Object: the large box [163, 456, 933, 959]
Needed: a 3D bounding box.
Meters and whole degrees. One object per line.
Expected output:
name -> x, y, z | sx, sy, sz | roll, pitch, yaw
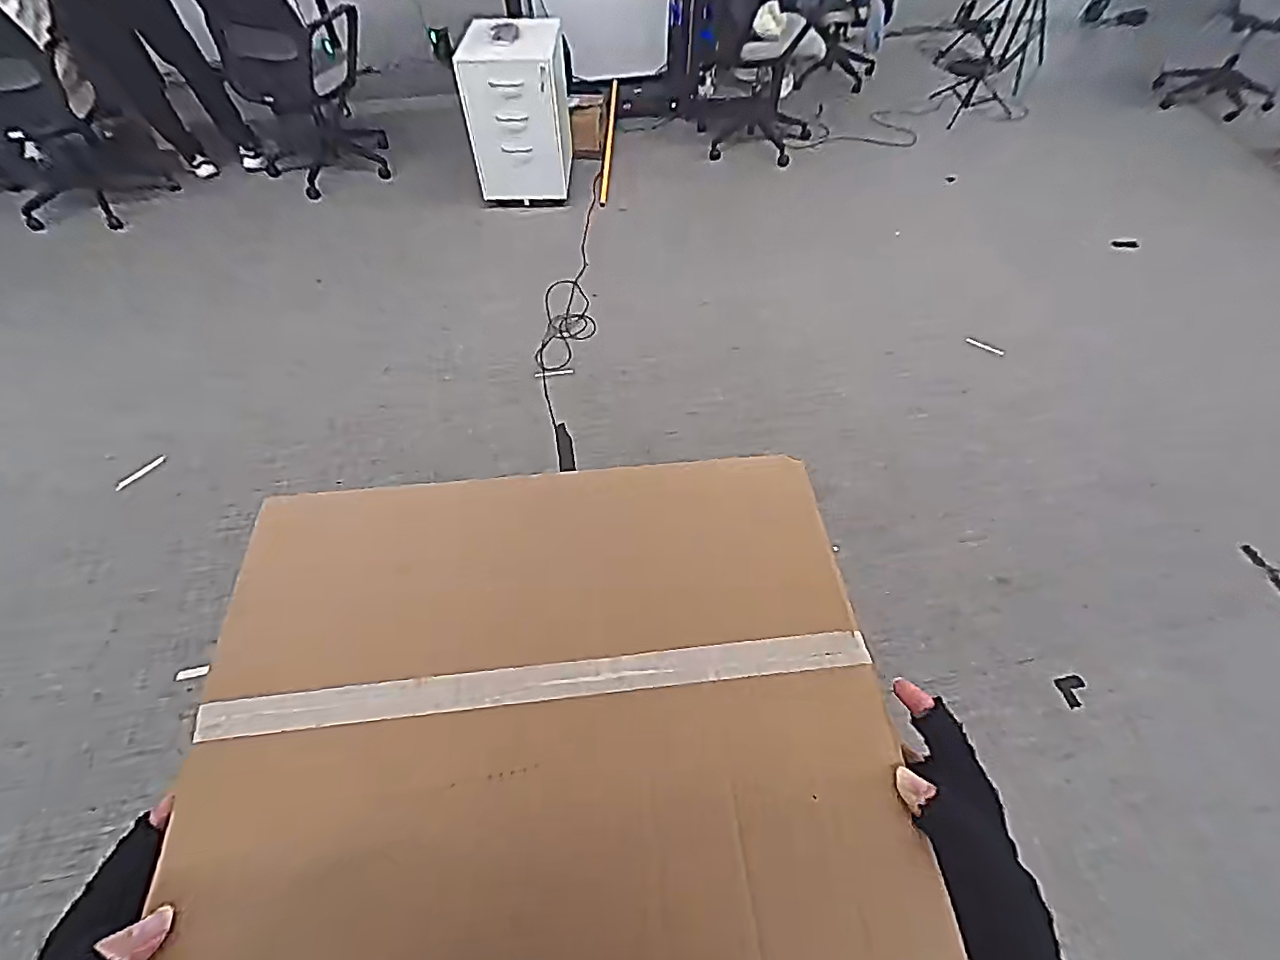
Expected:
large box -> -0.060, 0.207, 0.474 | 0.408, 0.320, 0.320 | -5, 58, -4
